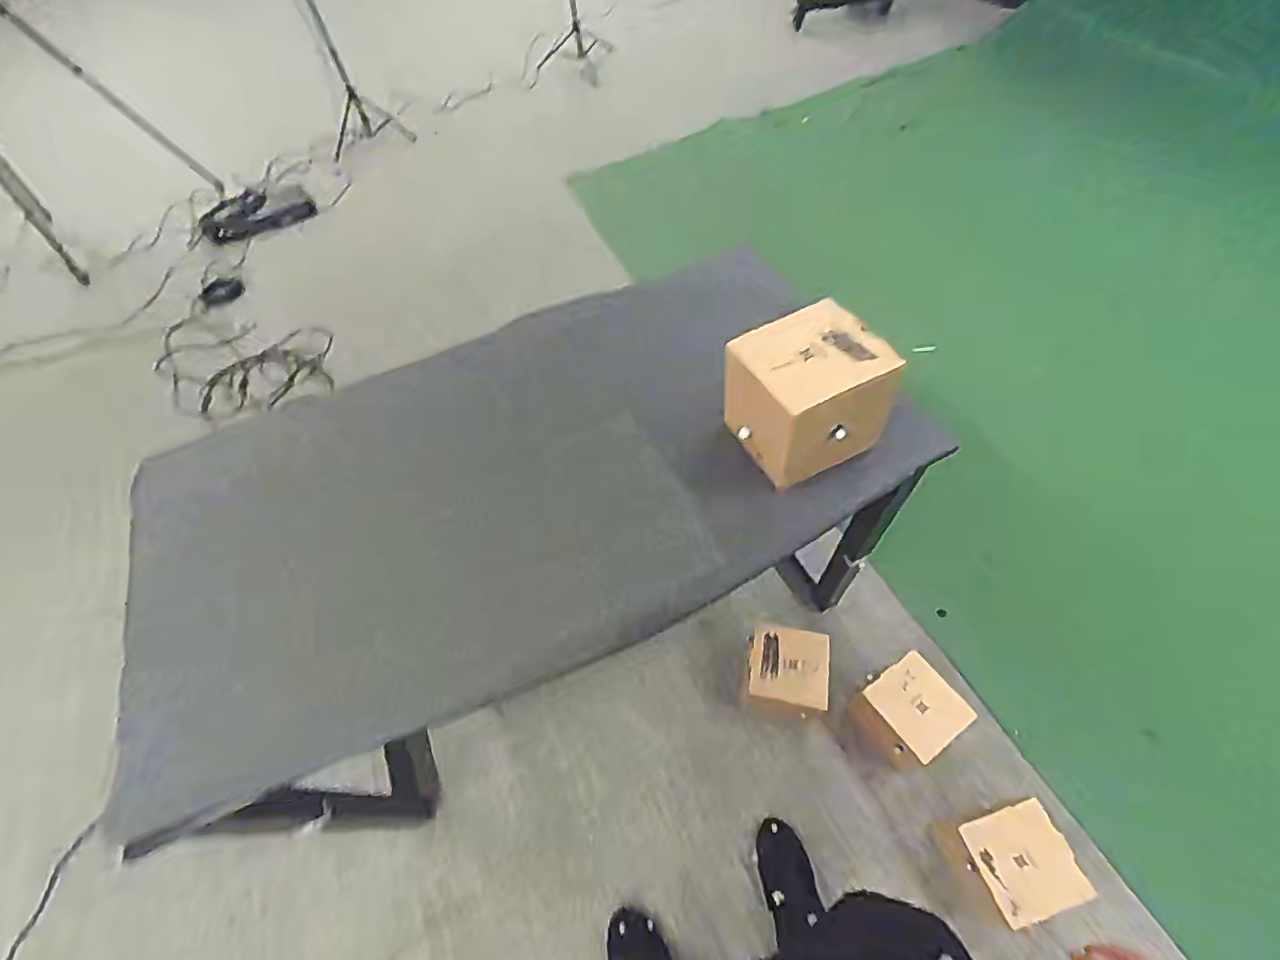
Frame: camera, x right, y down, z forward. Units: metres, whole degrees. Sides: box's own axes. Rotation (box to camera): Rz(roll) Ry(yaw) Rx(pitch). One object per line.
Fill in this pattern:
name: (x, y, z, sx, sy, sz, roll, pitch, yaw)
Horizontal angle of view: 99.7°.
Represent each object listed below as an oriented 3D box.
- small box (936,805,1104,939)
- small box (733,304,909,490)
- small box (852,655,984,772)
small box: (0.727, 0.753, 1.059, 0.179, 0.176, 0.168, -17, 58, -5)
small box: (0.246, -0.117, 0.788, 0.179, 0.176, 0.168, -24, 54, -8)
small box: (0.611, 0.528, 1.213, 0.168, 0.176, 0.179, -31, 60, -14)
